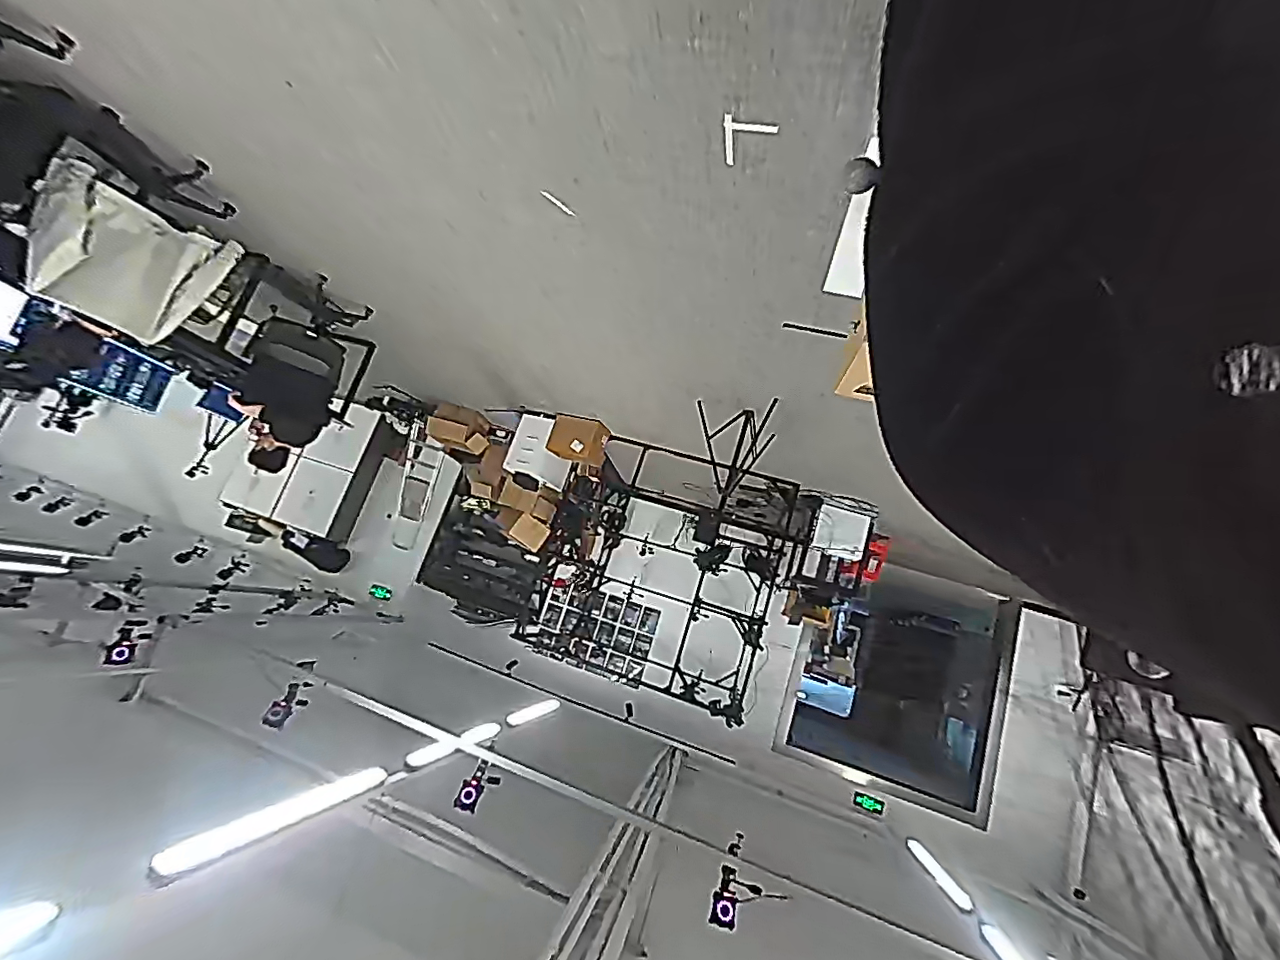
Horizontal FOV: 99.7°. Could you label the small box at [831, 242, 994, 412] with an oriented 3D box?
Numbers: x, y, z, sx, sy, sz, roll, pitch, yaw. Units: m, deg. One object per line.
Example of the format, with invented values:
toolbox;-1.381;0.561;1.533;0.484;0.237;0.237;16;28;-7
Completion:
small box;0.416;-0.230;0.838;0.168;0.176;0.179;16;167;10
